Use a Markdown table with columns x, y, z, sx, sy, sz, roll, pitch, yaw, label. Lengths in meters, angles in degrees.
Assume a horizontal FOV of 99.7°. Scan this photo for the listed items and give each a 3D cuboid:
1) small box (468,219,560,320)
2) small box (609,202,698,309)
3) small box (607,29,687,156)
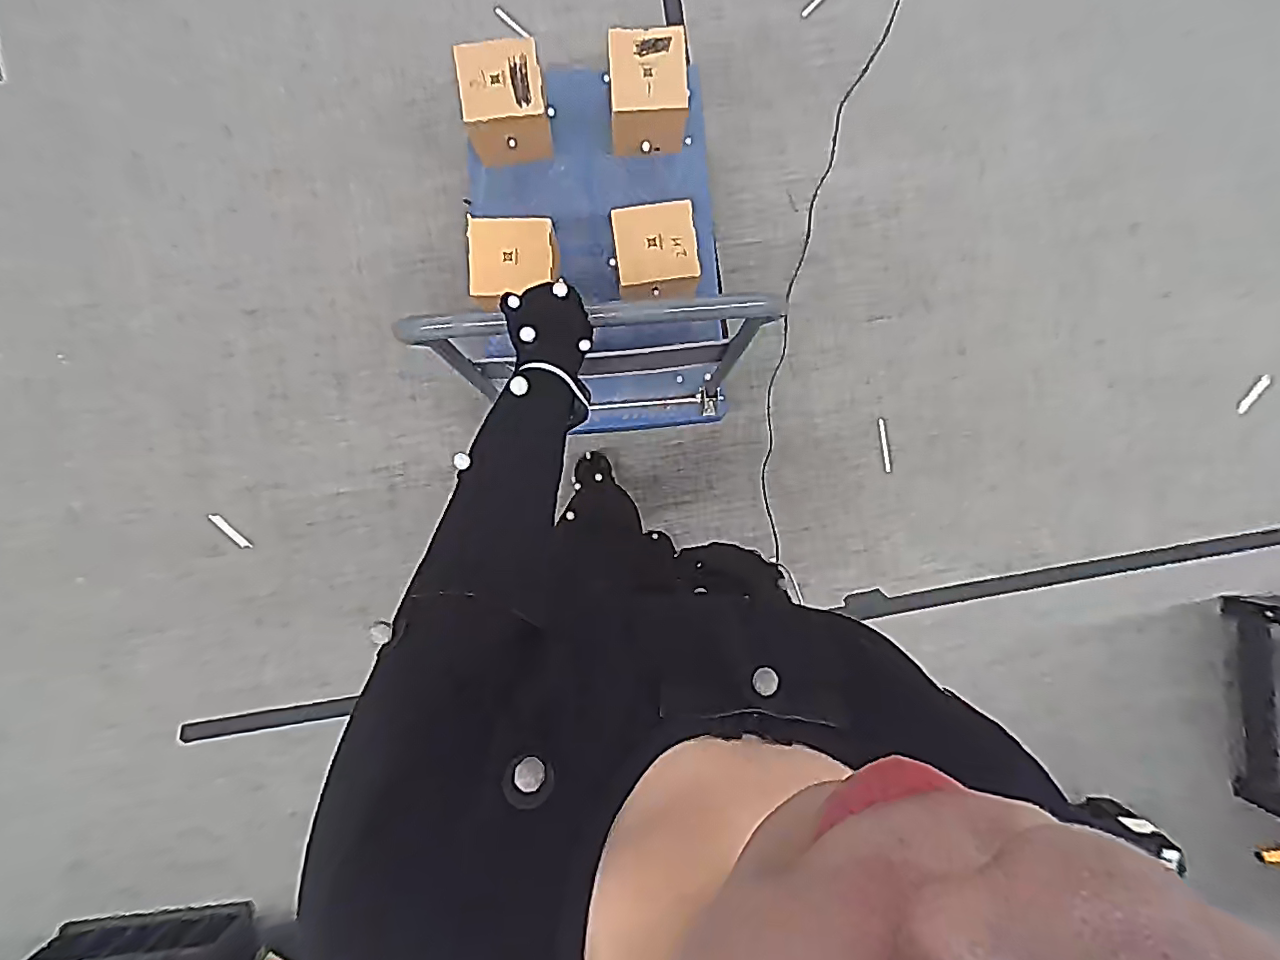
| x | y | z | sx | sy | sz | roll | pitch | yaw | label |
| --- | --- | --- | --- | --- | --- | --- | --- | --- | --- |
| -0.279 | -0.468 | 1.222 | 0.179 | 0.176 | 0.168 | -2 | 90 | -3 | small box |
| 0.030 | -0.501 | 1.229 | 0.179 | 0.176 | 0.168 | -8 | 90 | -1 | small box |
| 0.011 | -0.872 | 1.228 | 0.168 | 0.176 | 0.179 | -4 | 91 | -2 | small box |
